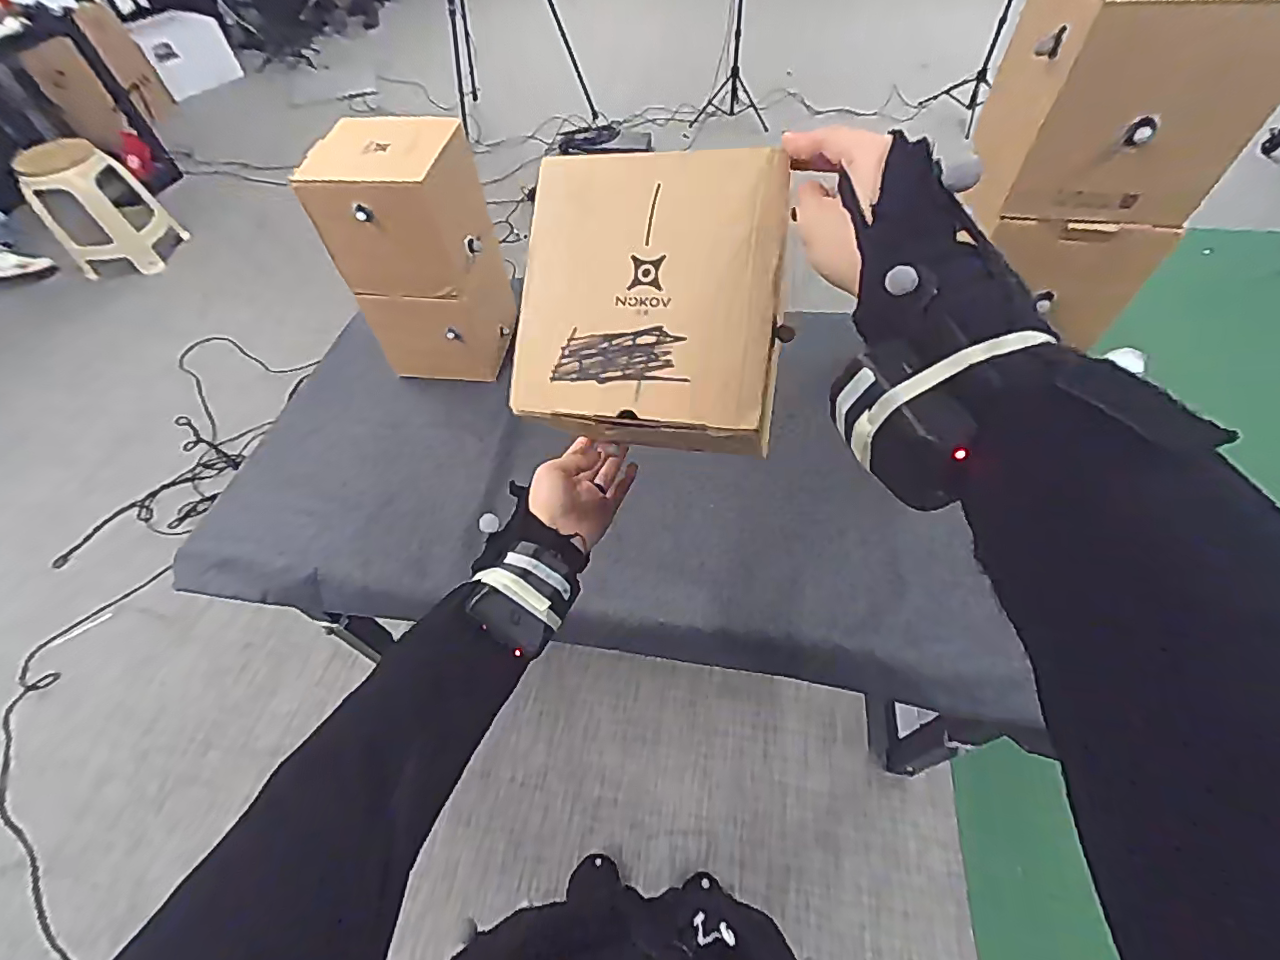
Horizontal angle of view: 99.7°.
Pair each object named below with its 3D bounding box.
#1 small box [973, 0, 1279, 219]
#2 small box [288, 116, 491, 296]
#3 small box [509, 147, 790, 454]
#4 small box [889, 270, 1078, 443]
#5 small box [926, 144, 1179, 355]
[{"bbox_3d":[0.439,-0.365,0.500,0.168,0.176,0.179,8,56,8],"label":"small box"},{"bbox_3d":[-0.330,-0.378,0.756,0.179,0.176,0.168,4,57,4],"label":"small box"},{"bbox_3d":[0.022,-0.119,0.419,0.168,0.176,0.179,8,88,15],"label":"small box"},{"bbox_3d":[0.467,-0.180,0.771,0.168,0.176,0.179,8,57,9],"label":"small box"},{"bbox_3d":[0.455,-0.270,0.634,0.168,0.176,0.179,9,57,10],"label":"small box"}]
